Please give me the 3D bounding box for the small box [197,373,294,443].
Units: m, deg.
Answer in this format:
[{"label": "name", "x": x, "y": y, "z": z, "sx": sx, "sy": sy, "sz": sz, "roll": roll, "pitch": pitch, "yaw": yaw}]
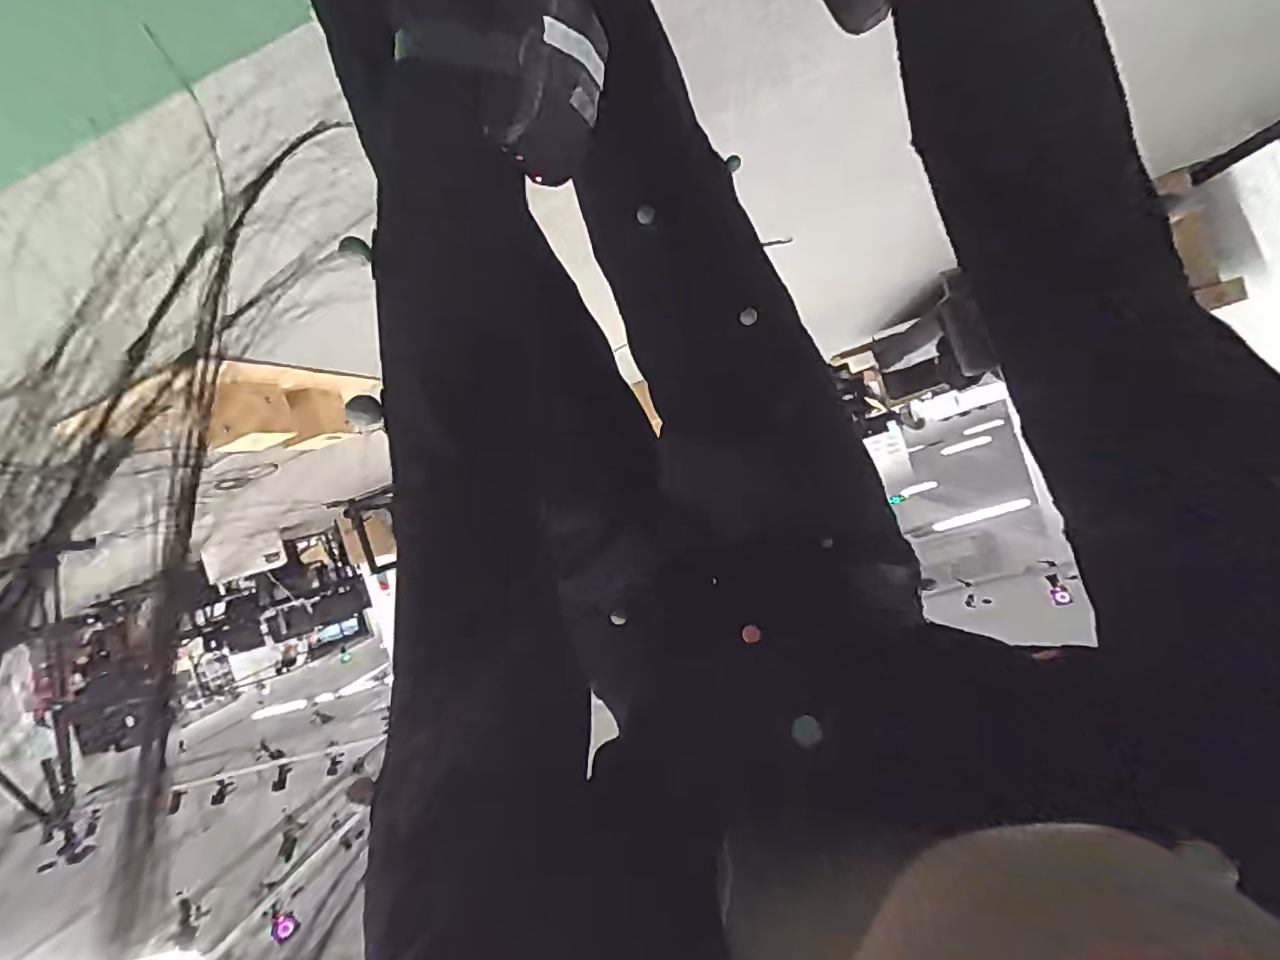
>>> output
[{"label": "small box", "x": -1.242, "y": -0.221, "z": 1.697, "sx": 0.179, "sy": 0.176, "sz": 0.168, "roll": -19, "pitch": 180, "yaw": 16}]
